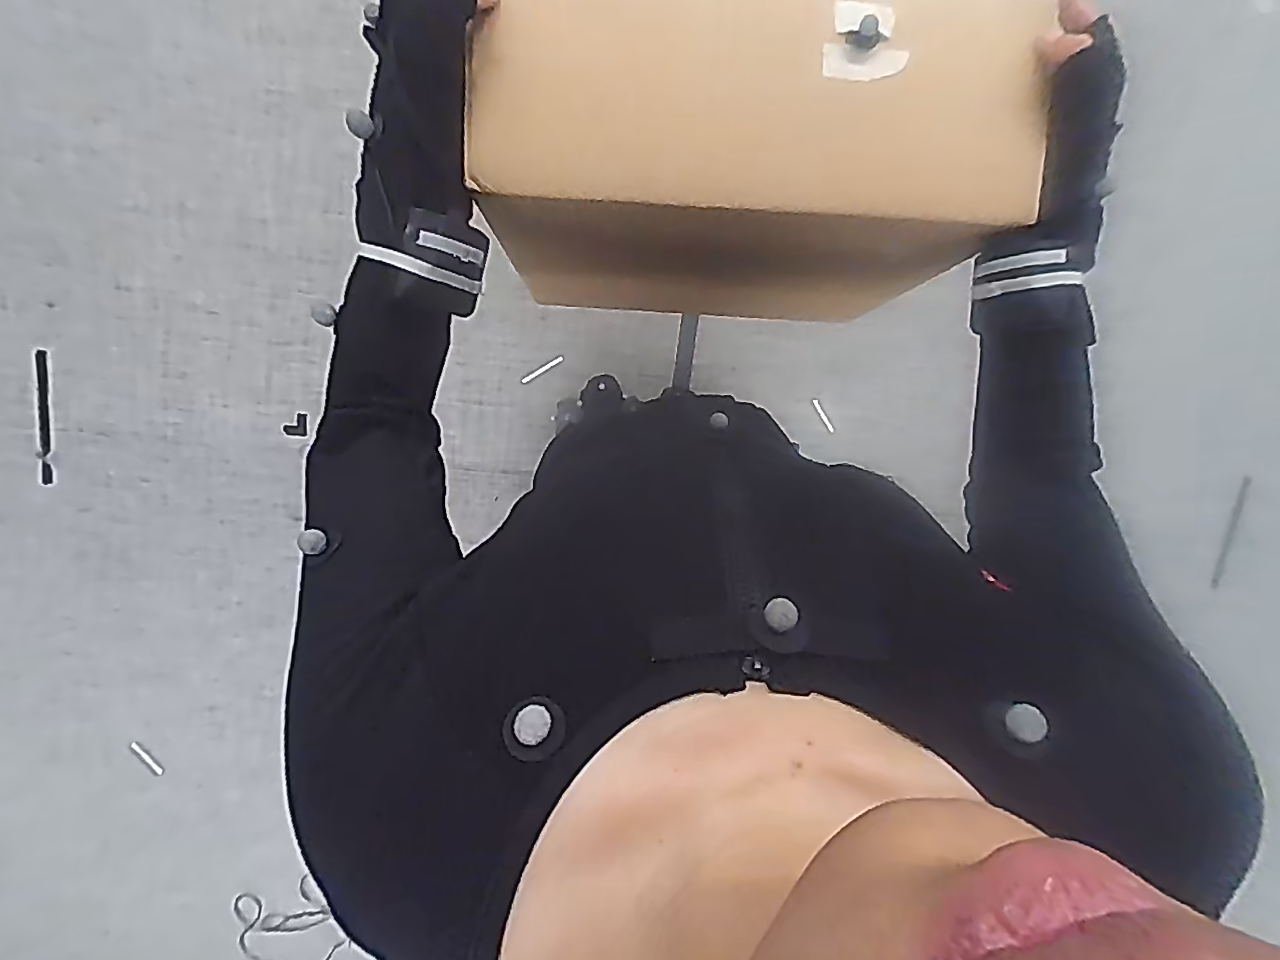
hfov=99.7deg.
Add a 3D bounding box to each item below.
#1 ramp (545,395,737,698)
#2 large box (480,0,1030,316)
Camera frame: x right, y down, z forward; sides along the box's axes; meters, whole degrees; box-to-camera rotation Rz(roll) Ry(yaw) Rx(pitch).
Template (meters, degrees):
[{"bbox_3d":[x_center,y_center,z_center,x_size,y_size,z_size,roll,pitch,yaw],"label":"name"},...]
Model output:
[{"bbox_3d":[-0.024,0.254,1.639,0.509,0.206,0.991,4,101,-3],"label":"ramp"},{"bbox_3d":[0.079,-0.359,0.535,0.408,0.320,0.320,2,94,-3],"label":"large box"}]
